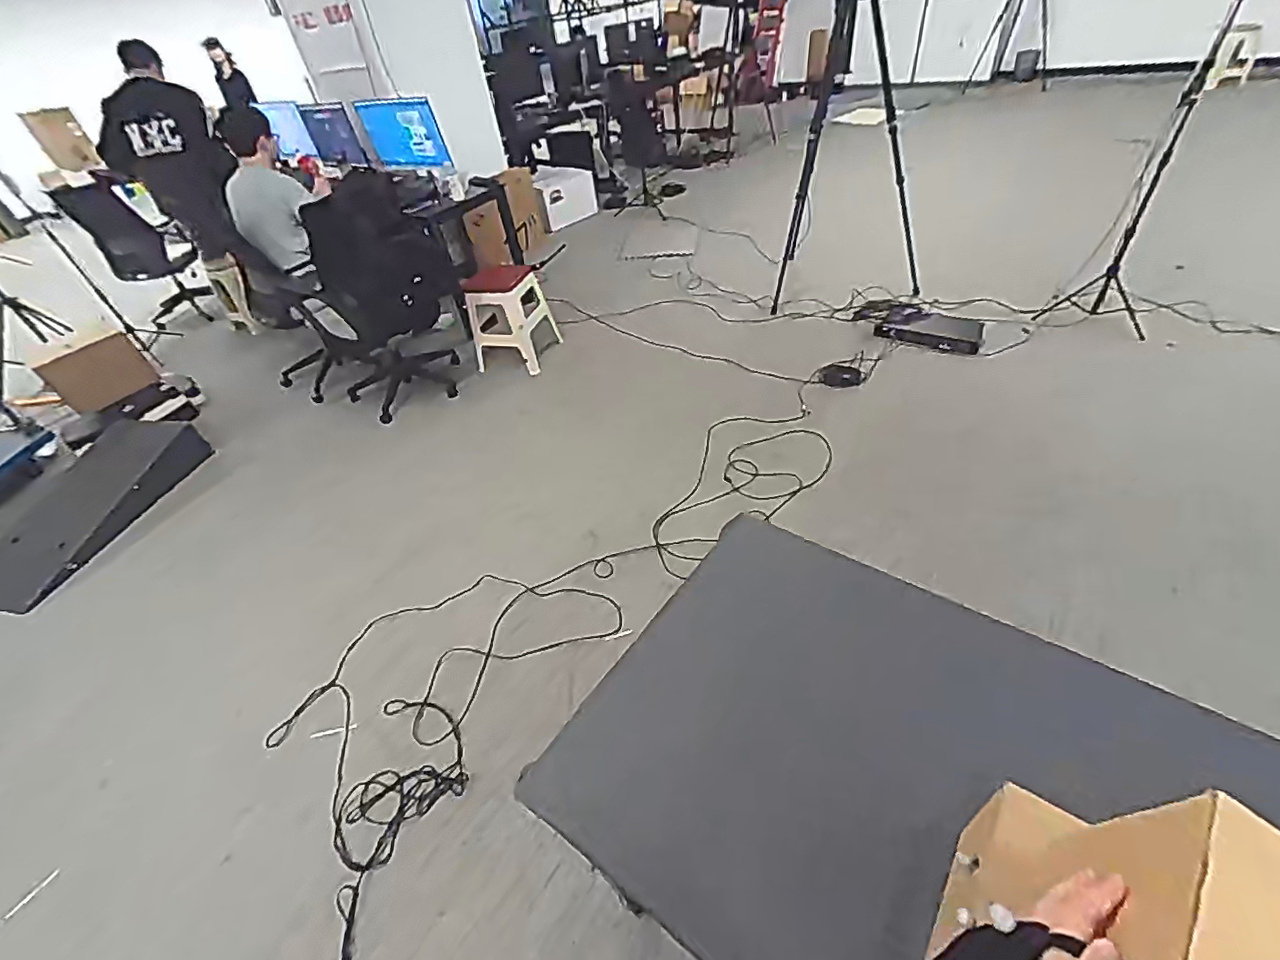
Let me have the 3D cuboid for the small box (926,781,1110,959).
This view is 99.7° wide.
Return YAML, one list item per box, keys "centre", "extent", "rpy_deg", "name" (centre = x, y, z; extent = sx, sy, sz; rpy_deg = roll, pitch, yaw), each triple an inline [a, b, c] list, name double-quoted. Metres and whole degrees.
- centre: [0.382, 0.428, 0.493]
  extent: [0.168, 0.176, 0.179]
  rpy_deg: [22, 50, 31]
  name: "small box"

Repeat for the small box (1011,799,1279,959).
- centre: [0.356, 0.337, 0.321]
  extent: [0.168, 0.176, 0.179]
  rpy_deg: [39, 56, 25]
  name: "small box"
